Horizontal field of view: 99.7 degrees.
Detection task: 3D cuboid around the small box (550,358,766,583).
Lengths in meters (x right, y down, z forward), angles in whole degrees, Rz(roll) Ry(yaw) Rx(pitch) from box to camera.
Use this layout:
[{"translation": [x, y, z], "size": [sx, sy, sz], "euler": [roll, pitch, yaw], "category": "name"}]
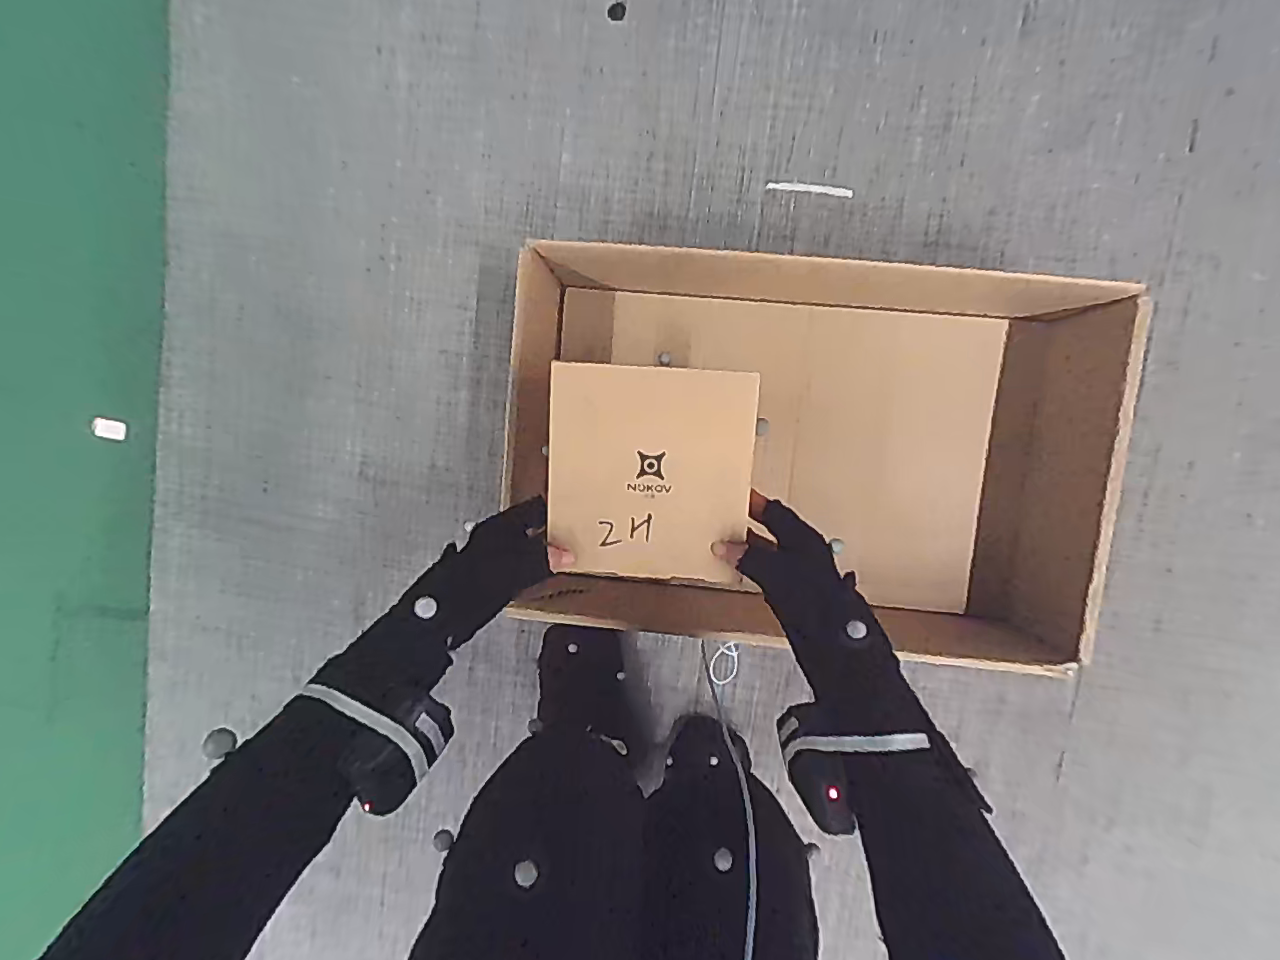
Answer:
[{"translation": [0.015, -0.020, 0.516], "size": [0.168, 0.176, 0.179], "euler": [4, 102, 3], "category": "small box"}]
